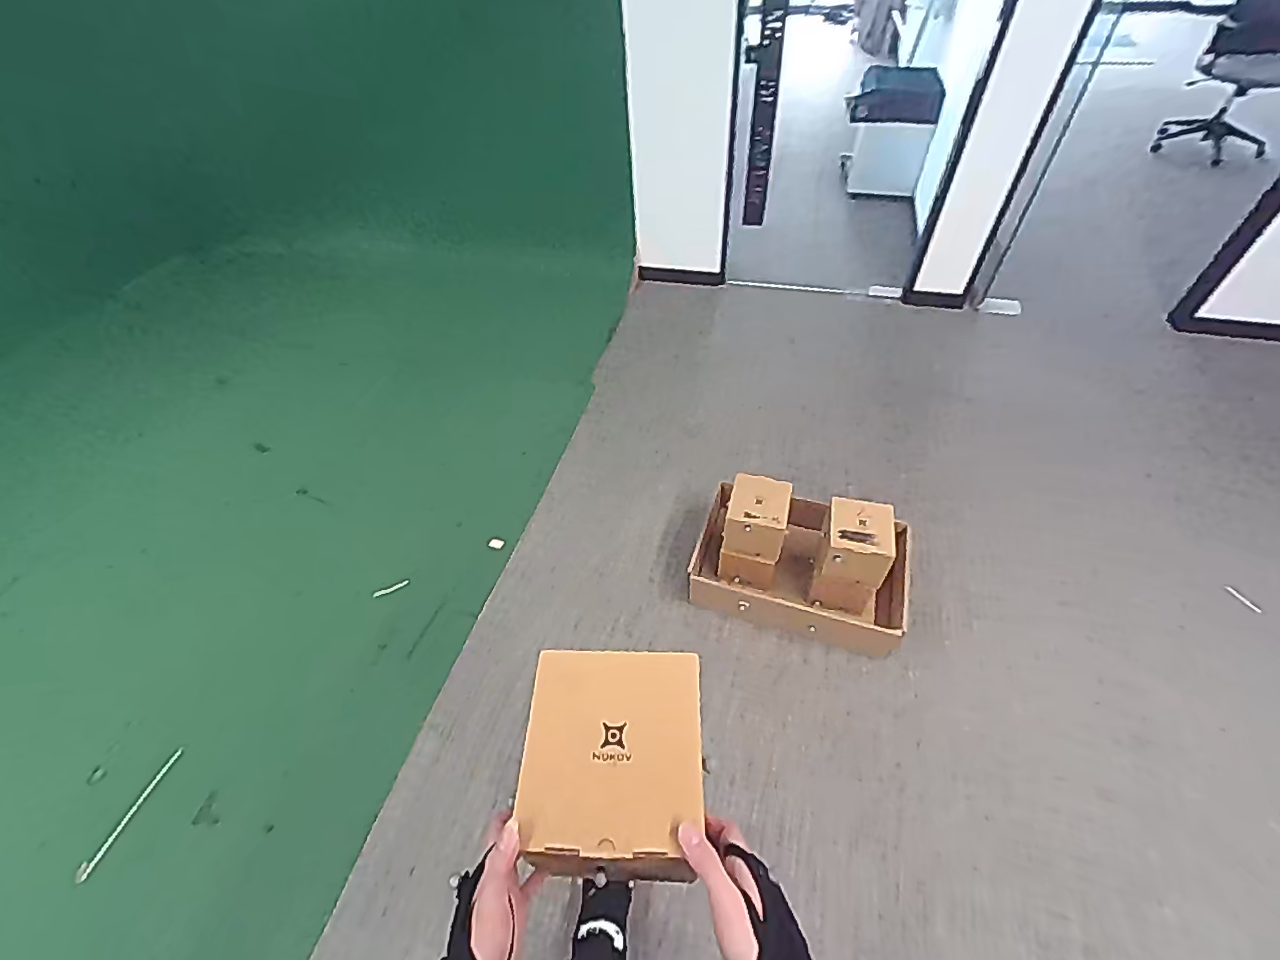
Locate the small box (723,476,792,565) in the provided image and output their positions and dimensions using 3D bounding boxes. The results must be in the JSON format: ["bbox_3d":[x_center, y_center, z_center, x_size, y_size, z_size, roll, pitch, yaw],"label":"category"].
[{"bbox_3d":[0.343,0.119,1.586,0.168,0.176,0.179,11,49,14],"label":"small box"}]

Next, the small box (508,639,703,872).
[{"bbox_3d":[-0.024,0.284,0.559,0.168,0.176,0.179,1,49,3],"label":"small box"}]
